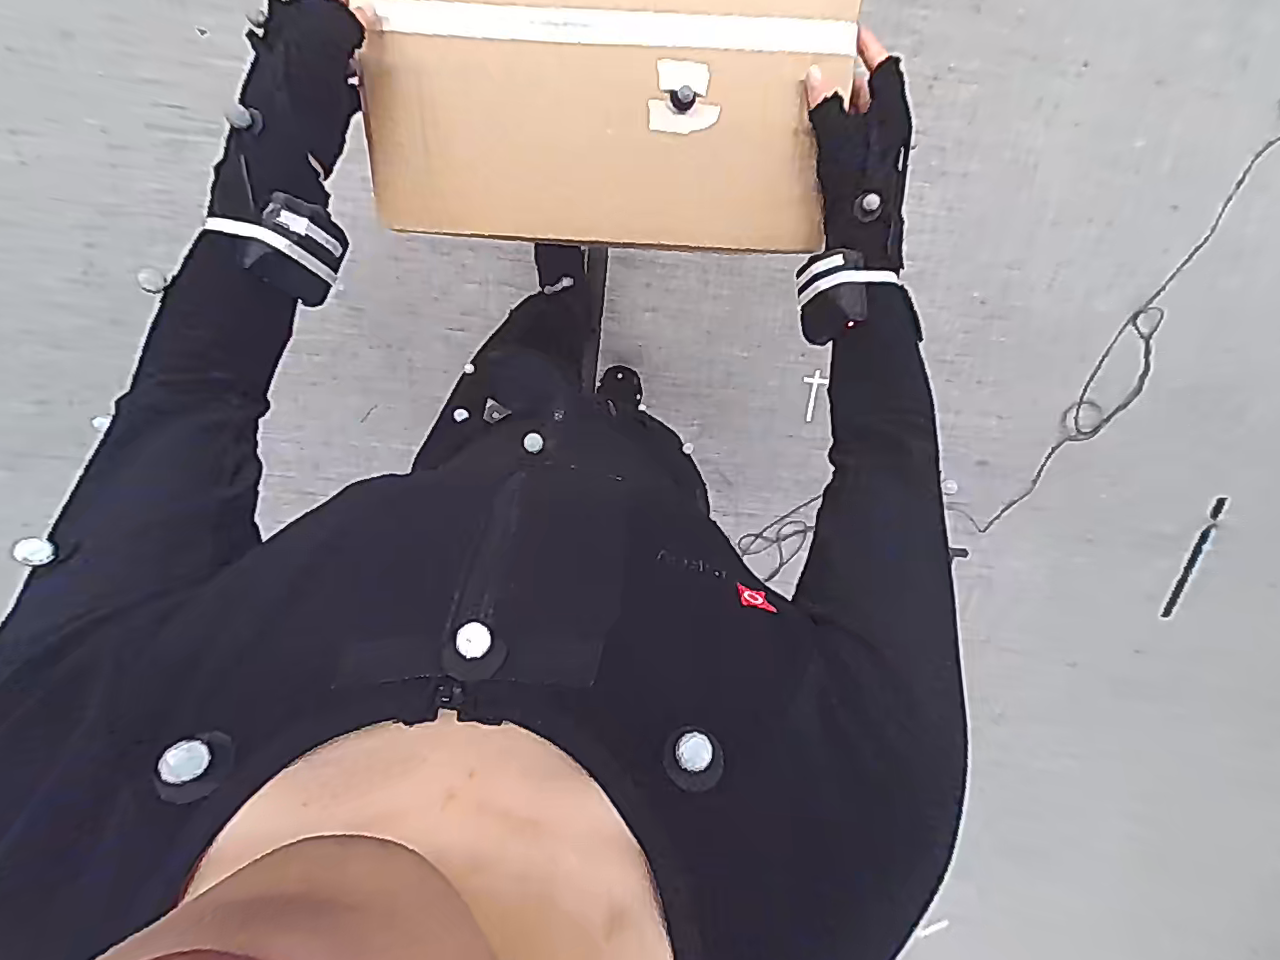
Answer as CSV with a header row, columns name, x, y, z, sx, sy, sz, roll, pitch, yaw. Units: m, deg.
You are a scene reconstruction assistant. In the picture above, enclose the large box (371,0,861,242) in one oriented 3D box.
name,x,y,z,sx,sy,sz,roll,pitch,yaw
large box,-0.022,-0.432,0.576,0.408,0.320,0.320,3,113,-1
